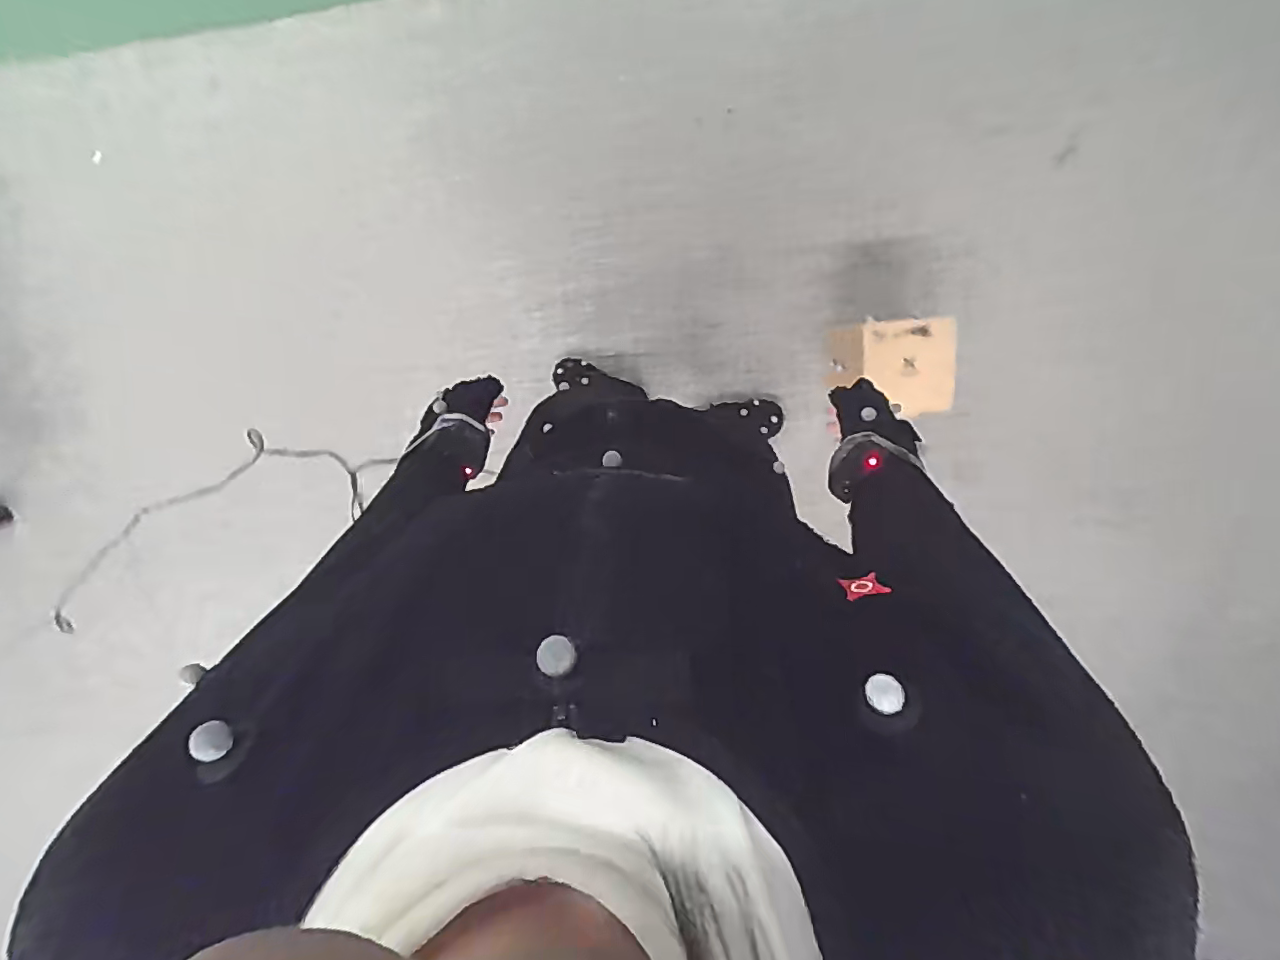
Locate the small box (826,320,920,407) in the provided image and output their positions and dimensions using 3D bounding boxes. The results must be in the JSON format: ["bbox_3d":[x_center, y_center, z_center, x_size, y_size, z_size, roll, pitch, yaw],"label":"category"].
[{"bbox_3d":[0.532,-0.269,1.246,0.168,0.176,0.179,-3,102,6],"label":"small box"}]

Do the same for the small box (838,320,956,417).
[{"bbox_3d":[0.506,-0.228,1.090,0.168,0.176,0.179,-2,104,6],"label":"small box"}]
